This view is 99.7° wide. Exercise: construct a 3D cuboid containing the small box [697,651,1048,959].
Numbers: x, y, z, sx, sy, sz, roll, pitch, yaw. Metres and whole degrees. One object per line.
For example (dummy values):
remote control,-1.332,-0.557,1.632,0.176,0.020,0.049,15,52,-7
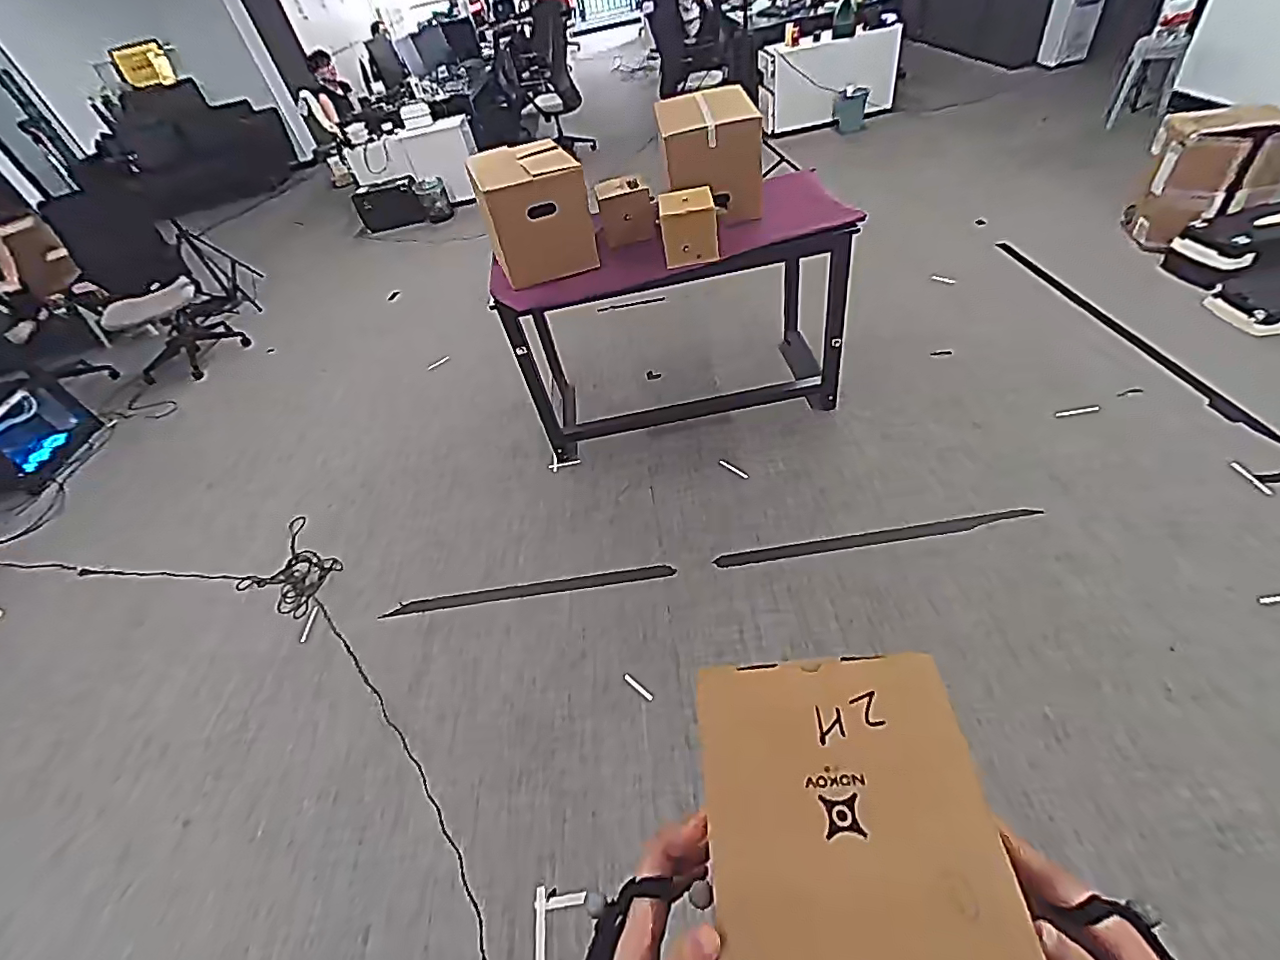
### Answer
small box,0.135,0.242,0.381,0.168,0.176,0.179,-7,48,7
